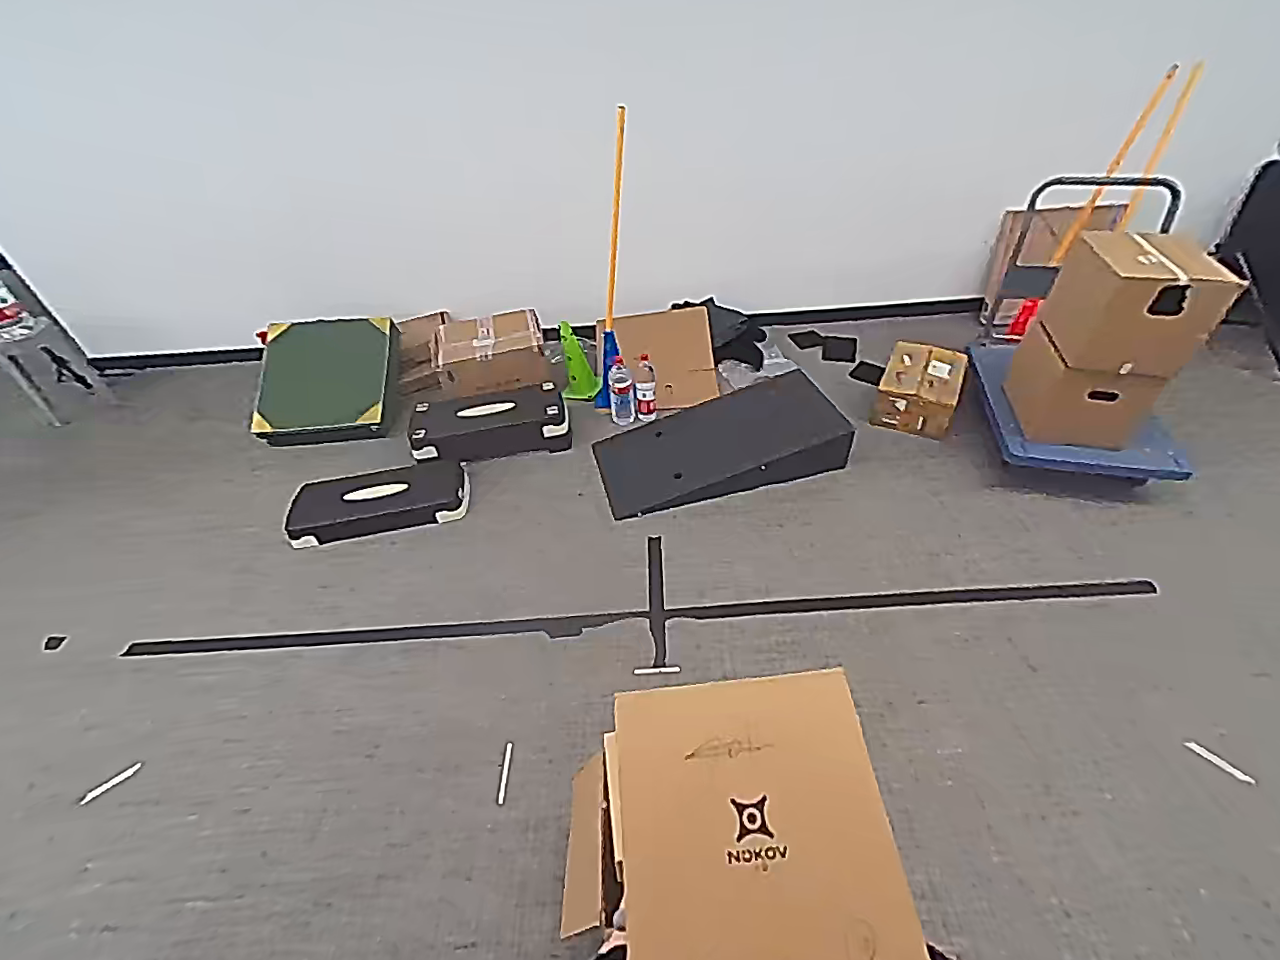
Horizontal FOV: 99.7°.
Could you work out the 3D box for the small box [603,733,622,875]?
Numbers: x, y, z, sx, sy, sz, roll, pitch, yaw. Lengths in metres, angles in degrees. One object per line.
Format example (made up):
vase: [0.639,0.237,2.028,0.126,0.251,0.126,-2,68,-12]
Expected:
small box: [0.041,0.493,0.833,0.179,0.176,0.168,-6,47,-6]

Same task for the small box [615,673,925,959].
small box: [0.075,0.259,0.397,0.168,0.176,0.179,-6,54,0]
